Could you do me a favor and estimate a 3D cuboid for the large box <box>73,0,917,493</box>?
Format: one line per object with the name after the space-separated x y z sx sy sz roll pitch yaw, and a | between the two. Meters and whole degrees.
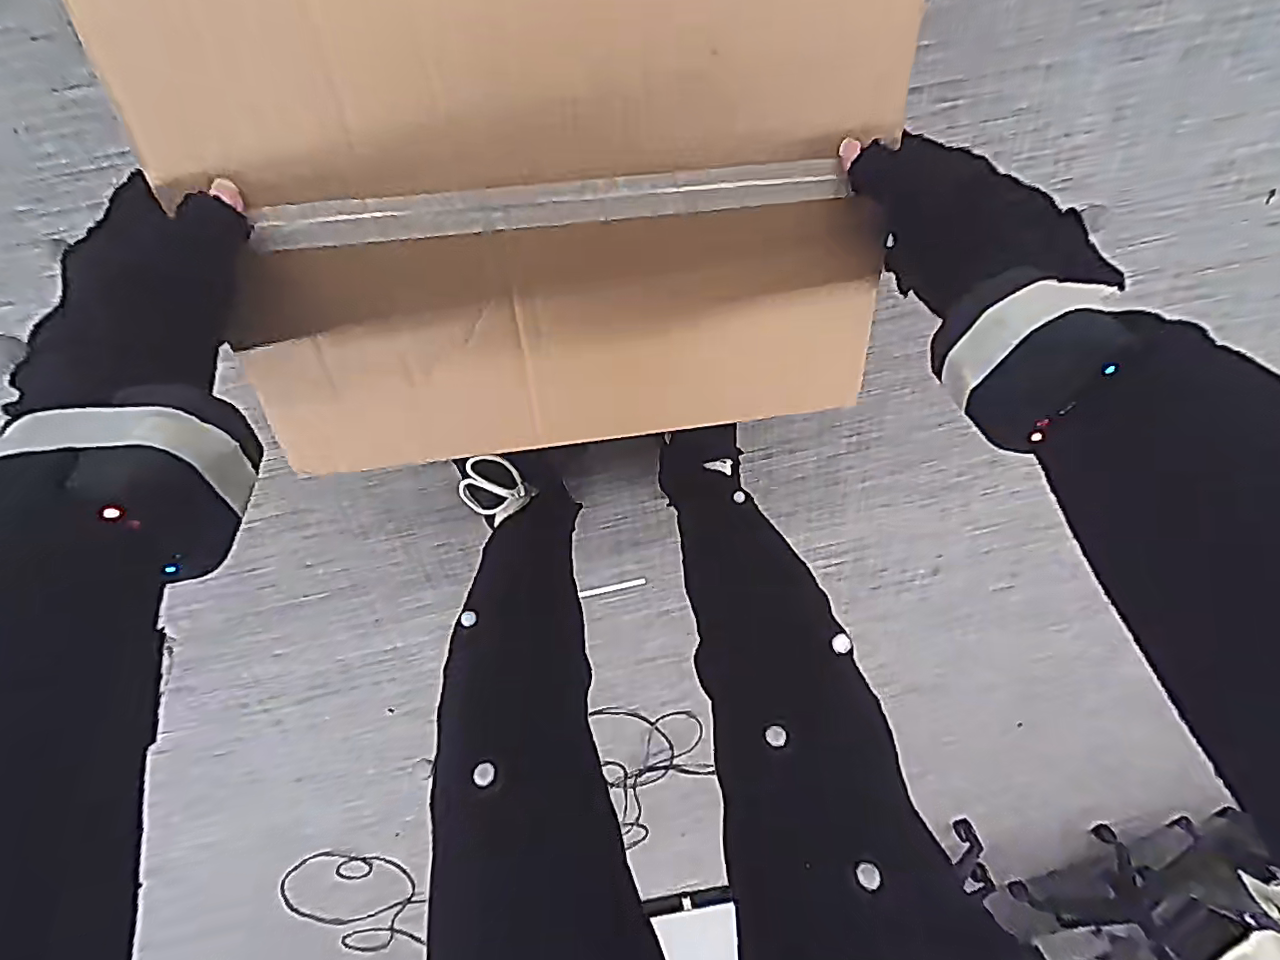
-0.067 -0.226 0.436 0.408 0.320 0.320 -8 122 -6 | large box
